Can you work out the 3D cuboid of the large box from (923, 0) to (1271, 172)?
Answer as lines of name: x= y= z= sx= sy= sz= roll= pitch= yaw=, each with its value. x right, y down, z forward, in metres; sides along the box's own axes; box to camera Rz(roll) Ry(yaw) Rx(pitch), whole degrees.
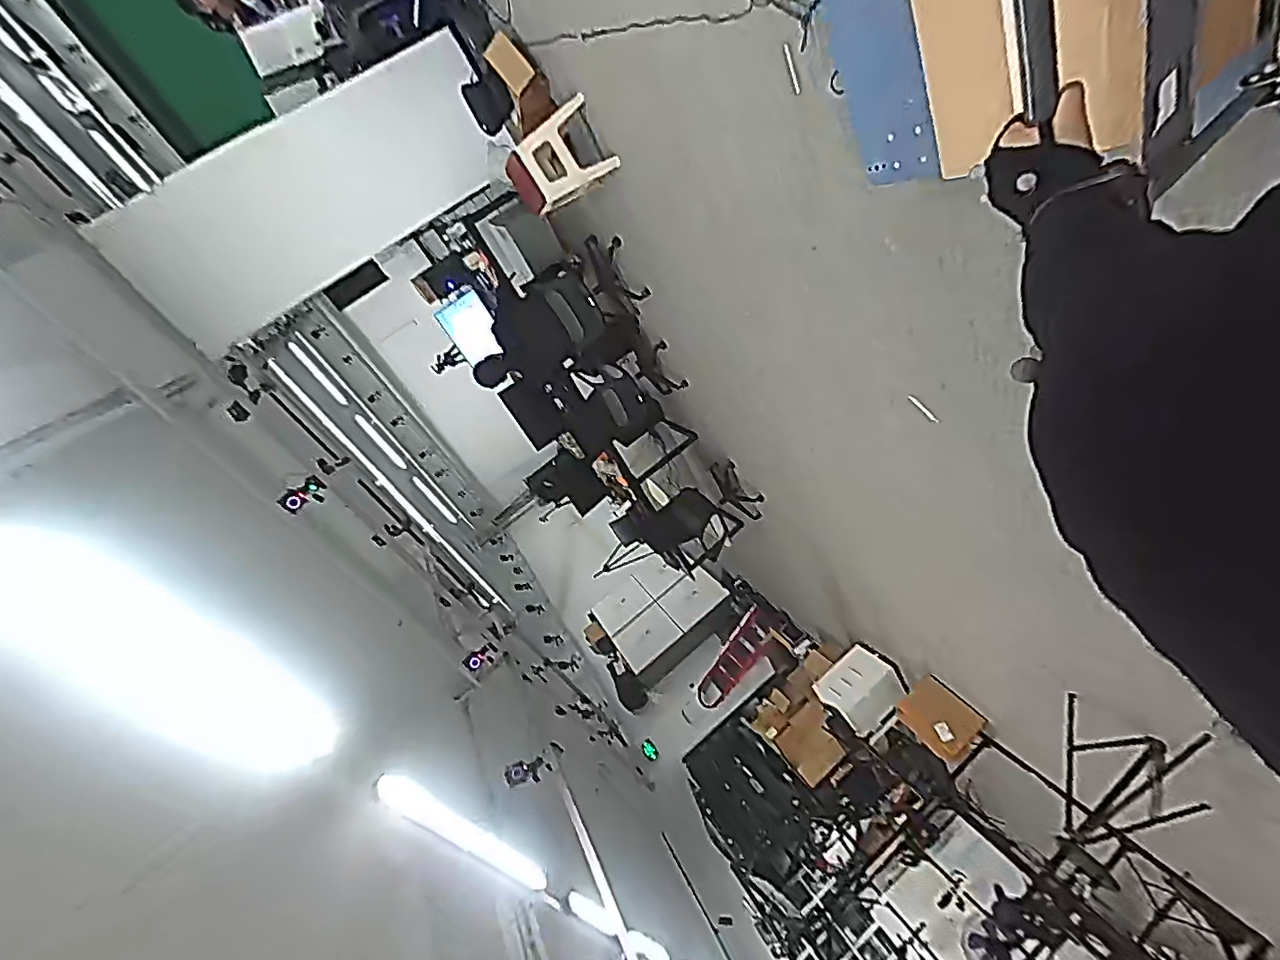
large box: x=0.685 y=-0.774 z=0.828 sx=0.408 sy=0.320 sz=0.320 roll=58 pitch=166 yaw=-30
